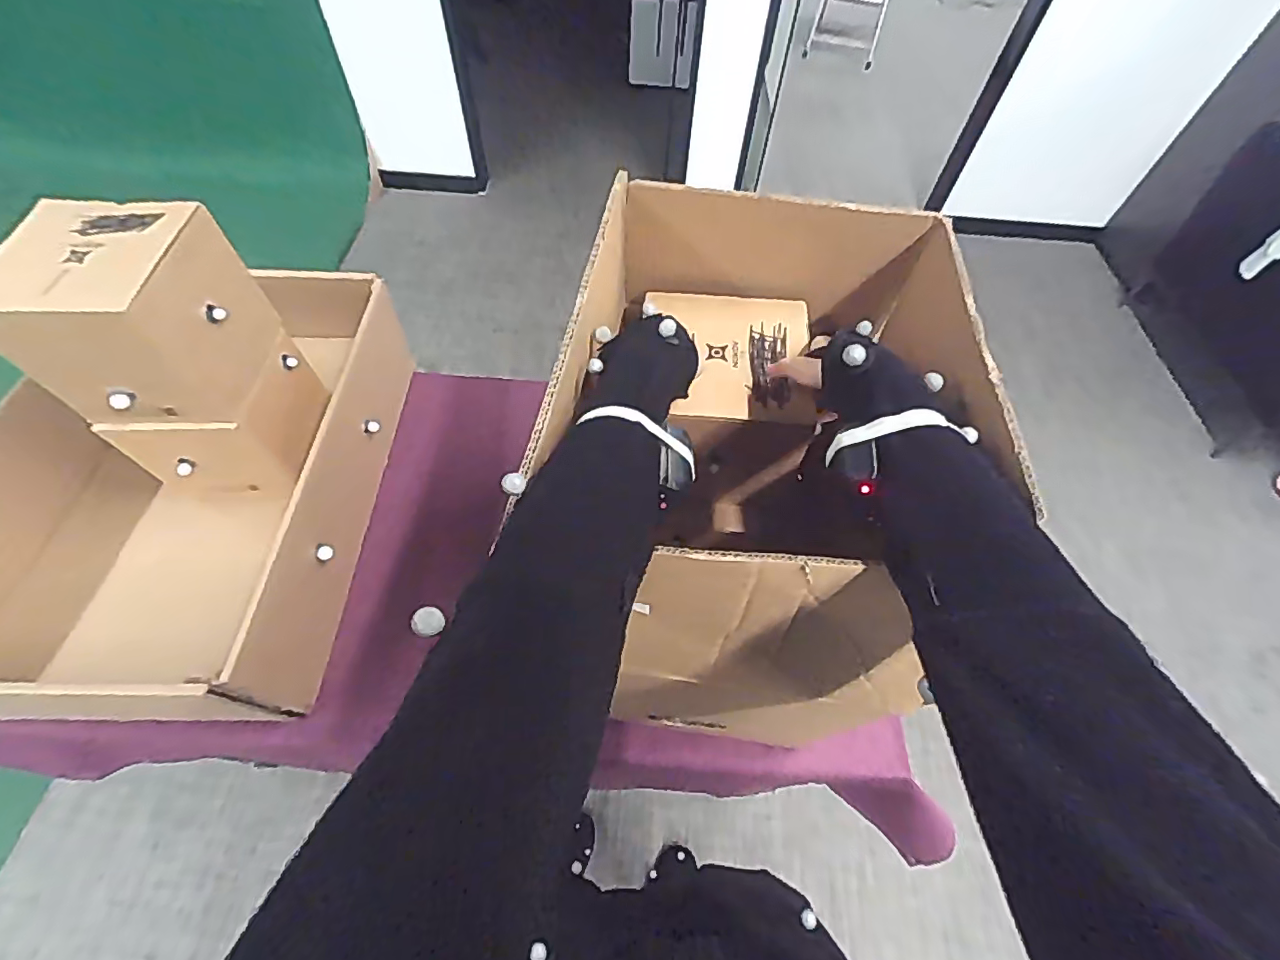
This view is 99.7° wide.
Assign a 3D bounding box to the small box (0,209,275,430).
[{"bbox_3d":[-0.554,-0.175,0.607,0.168,0.176,0.179,-1,59,-2],"label":"small box"}]

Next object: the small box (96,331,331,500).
[{"bbox_3d":[-0.558,-0.081,0.743,0.168,0.176,0.179,-2,58,-3],"label":"small box"}]
